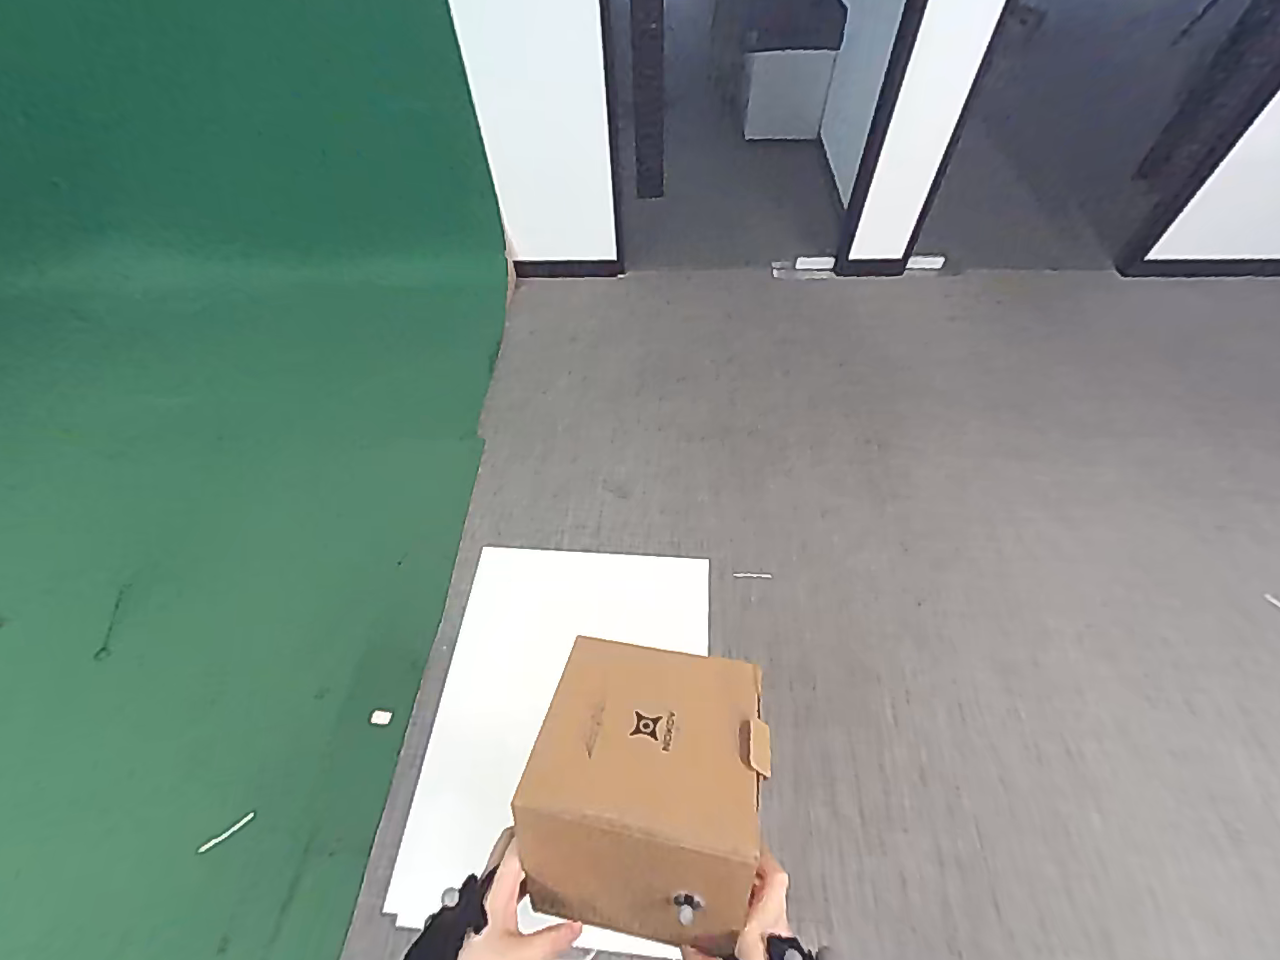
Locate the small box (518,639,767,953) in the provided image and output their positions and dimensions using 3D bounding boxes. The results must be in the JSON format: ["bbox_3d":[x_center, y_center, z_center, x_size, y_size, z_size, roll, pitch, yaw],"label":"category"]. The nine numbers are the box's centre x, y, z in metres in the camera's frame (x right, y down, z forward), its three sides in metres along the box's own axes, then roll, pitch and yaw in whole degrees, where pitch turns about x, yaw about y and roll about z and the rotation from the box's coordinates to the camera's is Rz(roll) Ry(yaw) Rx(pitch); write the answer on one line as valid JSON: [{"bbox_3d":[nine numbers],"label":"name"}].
[{"bbox_3d":[0.012,0.272,0.477,0.179,0.176,0.168,6,30,9],"label":"small box"}]
